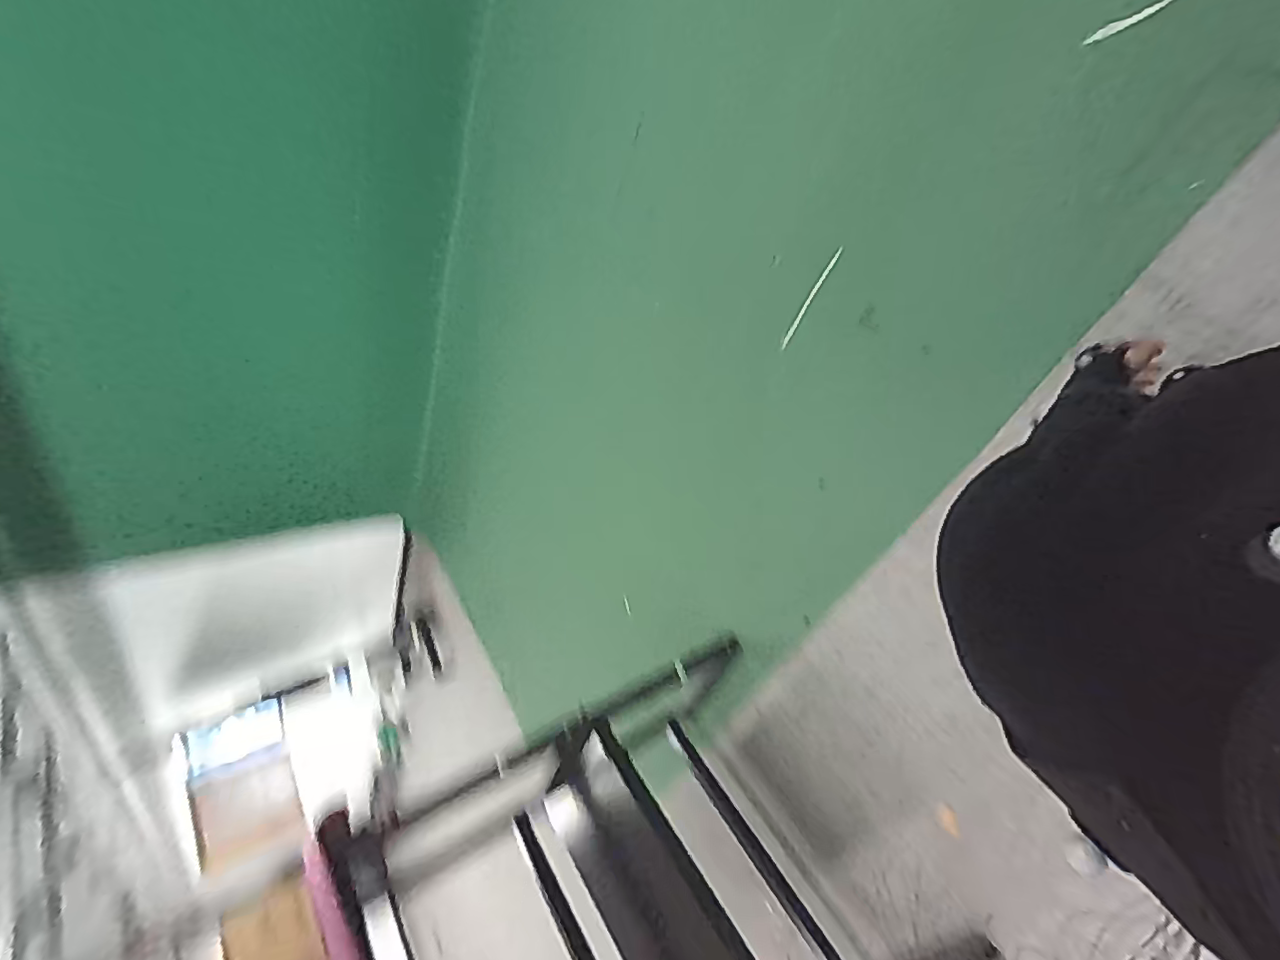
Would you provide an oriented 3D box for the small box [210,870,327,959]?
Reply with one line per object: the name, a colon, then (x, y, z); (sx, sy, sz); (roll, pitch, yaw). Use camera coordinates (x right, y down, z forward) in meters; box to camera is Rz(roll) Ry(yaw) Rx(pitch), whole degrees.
small box: (-0.789, 0.987, 1.158); (0.168, 0.176, 0.179); (47, 133, 31)
